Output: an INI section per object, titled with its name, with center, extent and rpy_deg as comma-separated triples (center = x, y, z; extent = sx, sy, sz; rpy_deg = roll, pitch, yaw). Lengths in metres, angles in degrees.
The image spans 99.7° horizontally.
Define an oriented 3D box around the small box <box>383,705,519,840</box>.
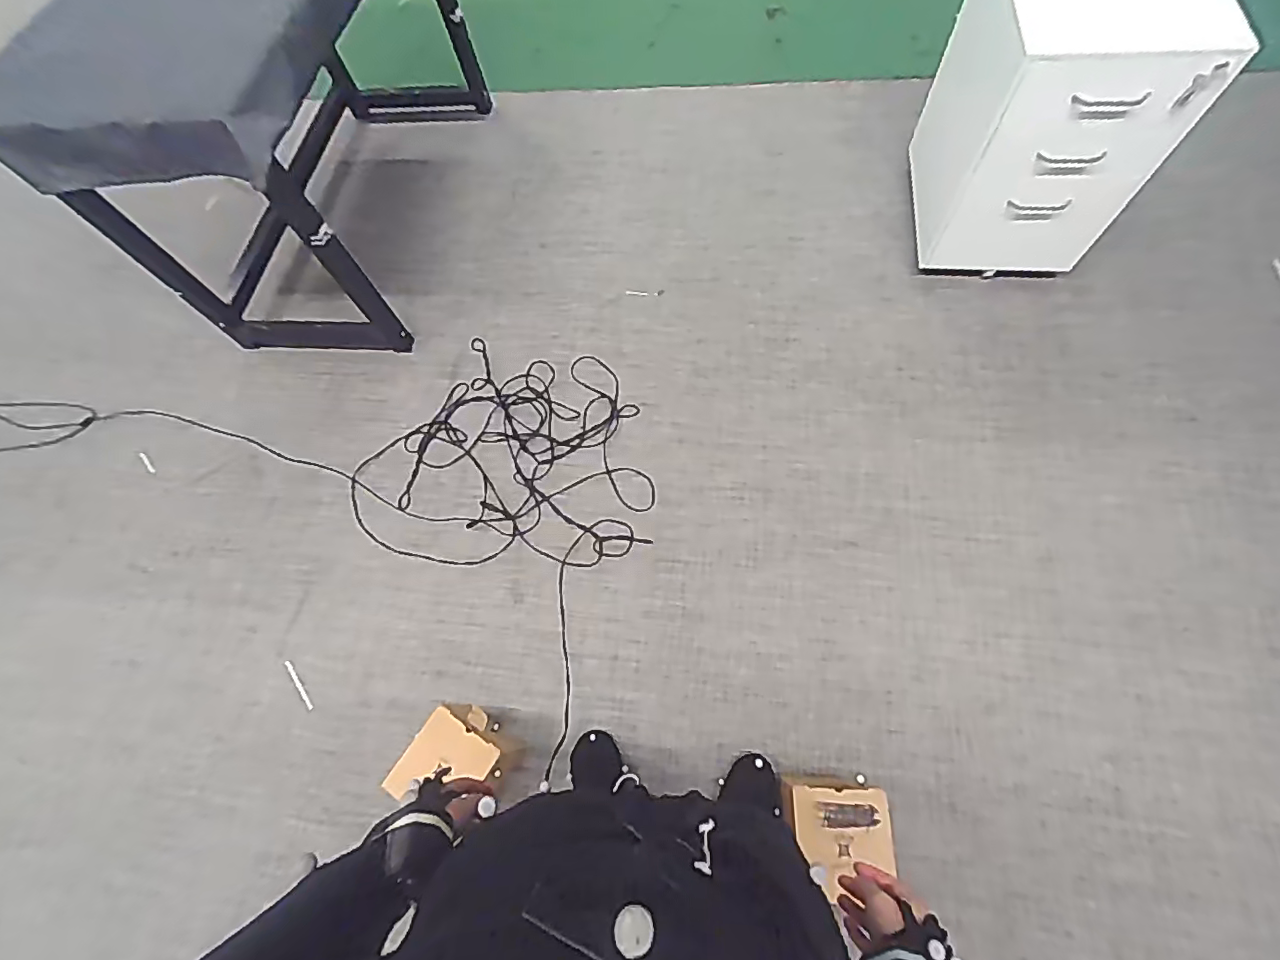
[small box]
center = -0.375, 0.588, 1.110
extent = 0.168, 0.176, 0.179
rpy_deg = 29, 72, 17
